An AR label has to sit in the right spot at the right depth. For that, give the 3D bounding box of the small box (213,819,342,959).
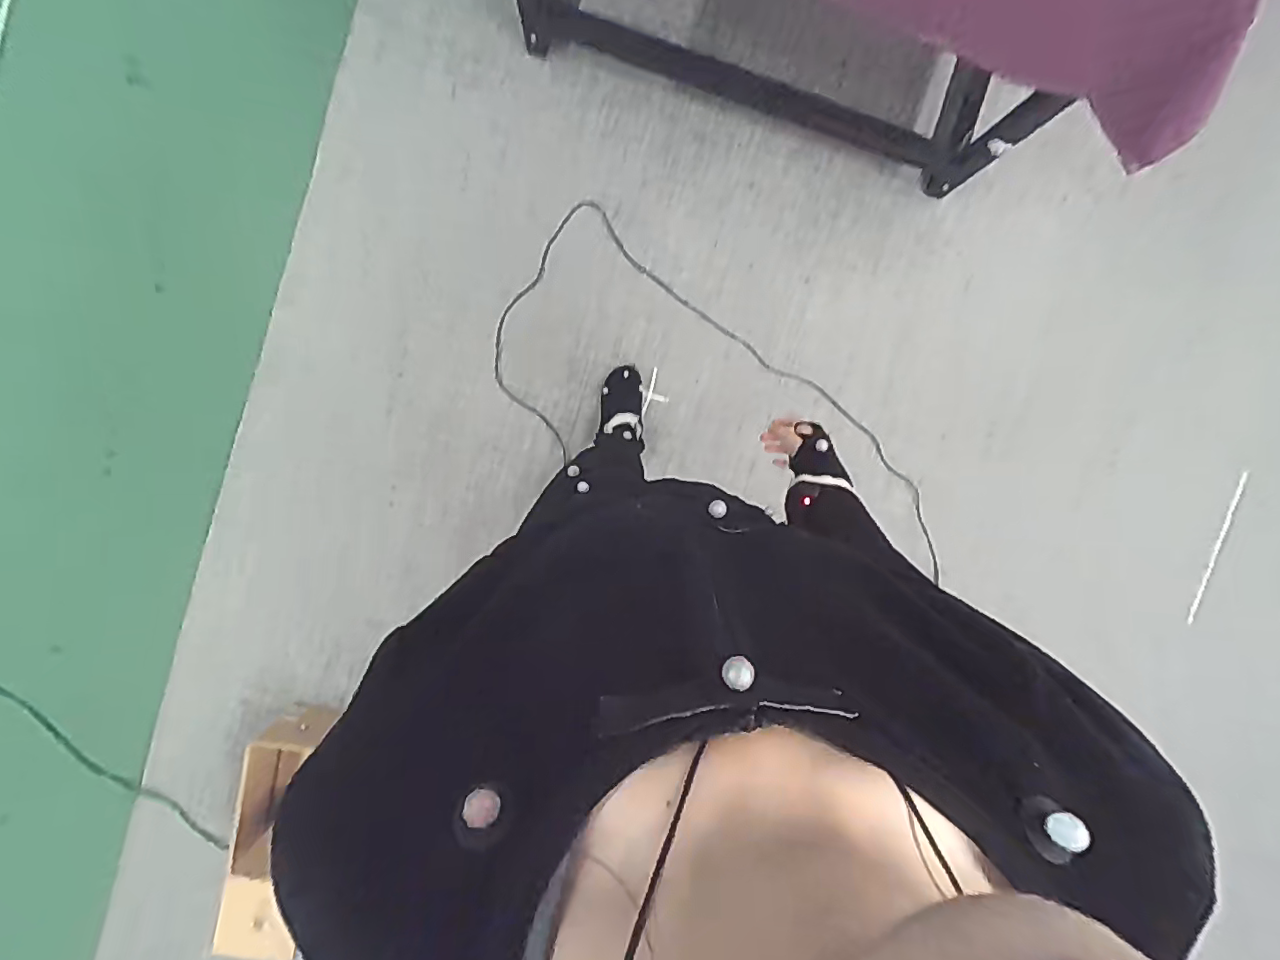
[{"bbox_3d":[-0.798,0.907,1.208,0.168,0.176,0.179,13,92,-5],"label":"small box"}]
